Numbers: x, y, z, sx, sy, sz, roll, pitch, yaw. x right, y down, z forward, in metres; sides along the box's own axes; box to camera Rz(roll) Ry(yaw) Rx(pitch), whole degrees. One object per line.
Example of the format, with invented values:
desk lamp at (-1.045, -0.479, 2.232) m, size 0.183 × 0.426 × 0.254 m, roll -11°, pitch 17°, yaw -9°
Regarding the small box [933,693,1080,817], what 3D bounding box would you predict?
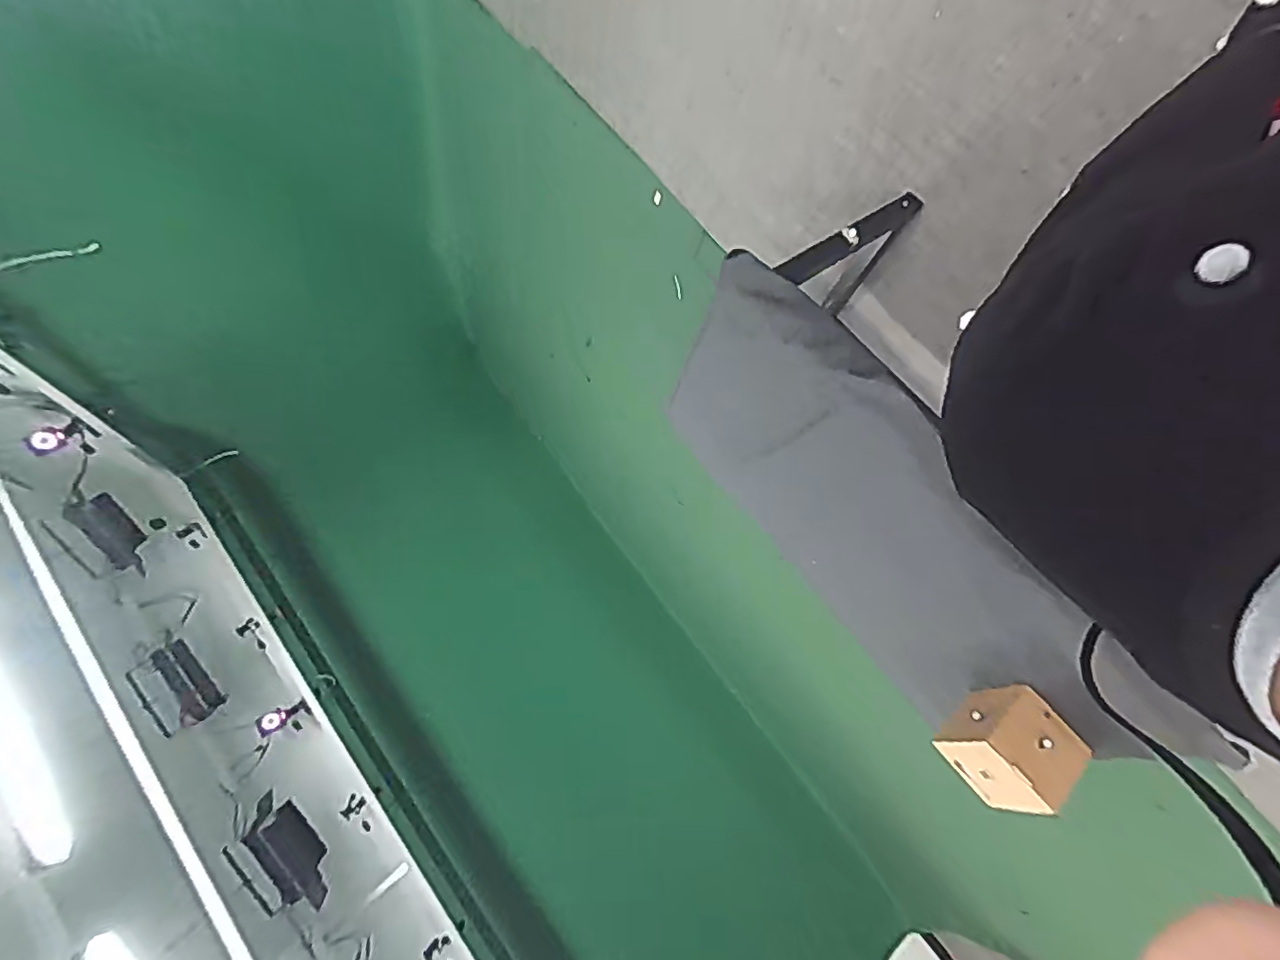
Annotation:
small box at (0.776, 0.572, 1.141) m, size 0.168 × 0.176 × 0.179 m, roll 49°, pitch 154°, yaw 14°
